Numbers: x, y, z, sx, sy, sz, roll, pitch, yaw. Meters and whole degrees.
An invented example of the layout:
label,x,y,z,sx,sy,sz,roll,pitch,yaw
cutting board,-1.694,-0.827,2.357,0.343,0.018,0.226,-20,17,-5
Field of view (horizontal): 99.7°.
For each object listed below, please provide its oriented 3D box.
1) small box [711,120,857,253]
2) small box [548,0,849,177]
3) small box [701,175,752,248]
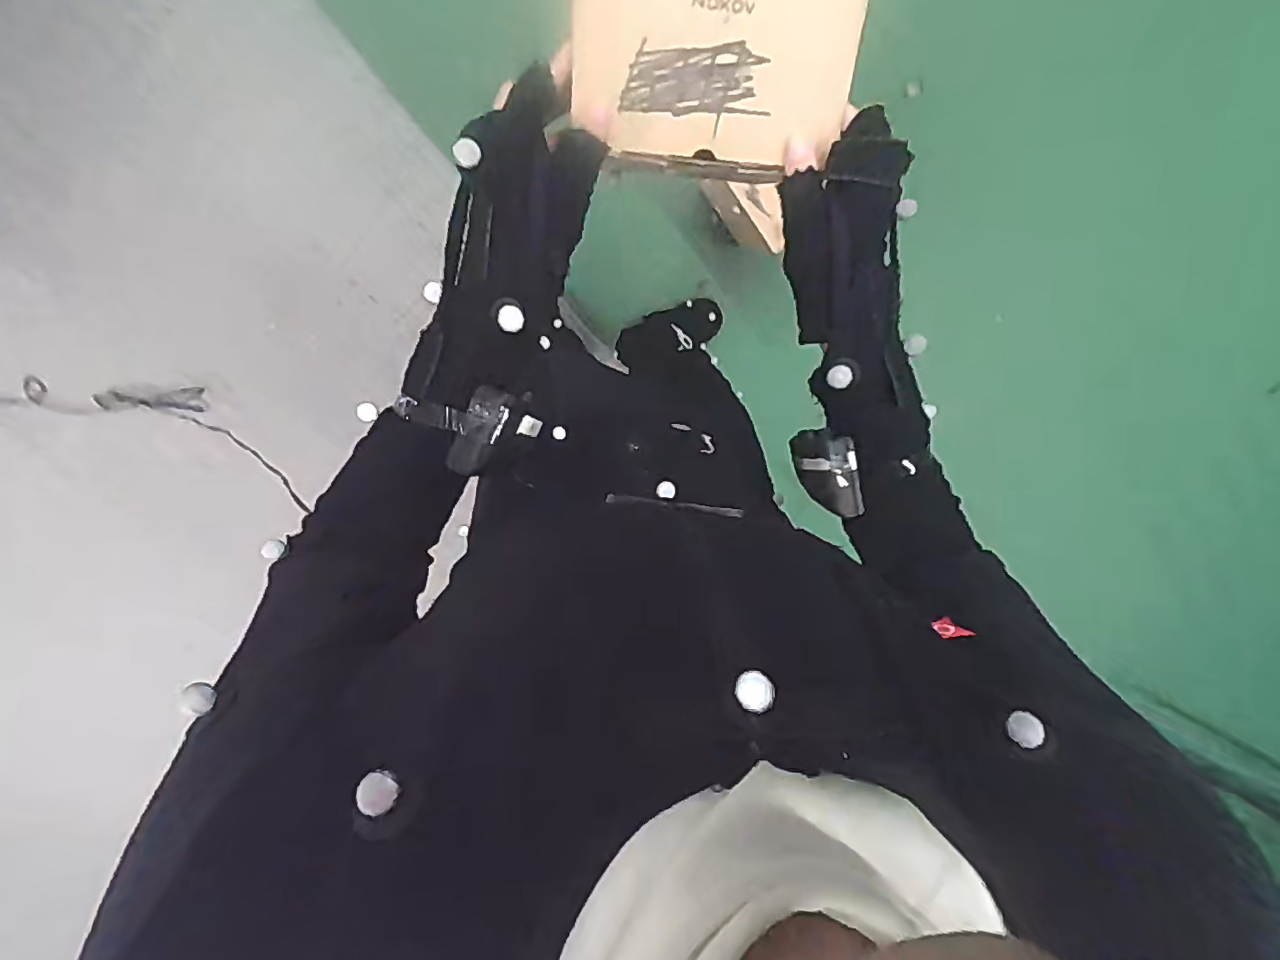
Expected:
label,x,y,z,sx,sy,sz,roll,pitch,yaw
small box,0.247,-0.536,0.970,0.179,0.176,0.168,-36,110,14
small box,0.028,-0.307,0.358,0.168,0.176,0.179,1,117,-6
small box,0.241,-0.600,1.101,0.179,0.176,0.168,-35,109,15
